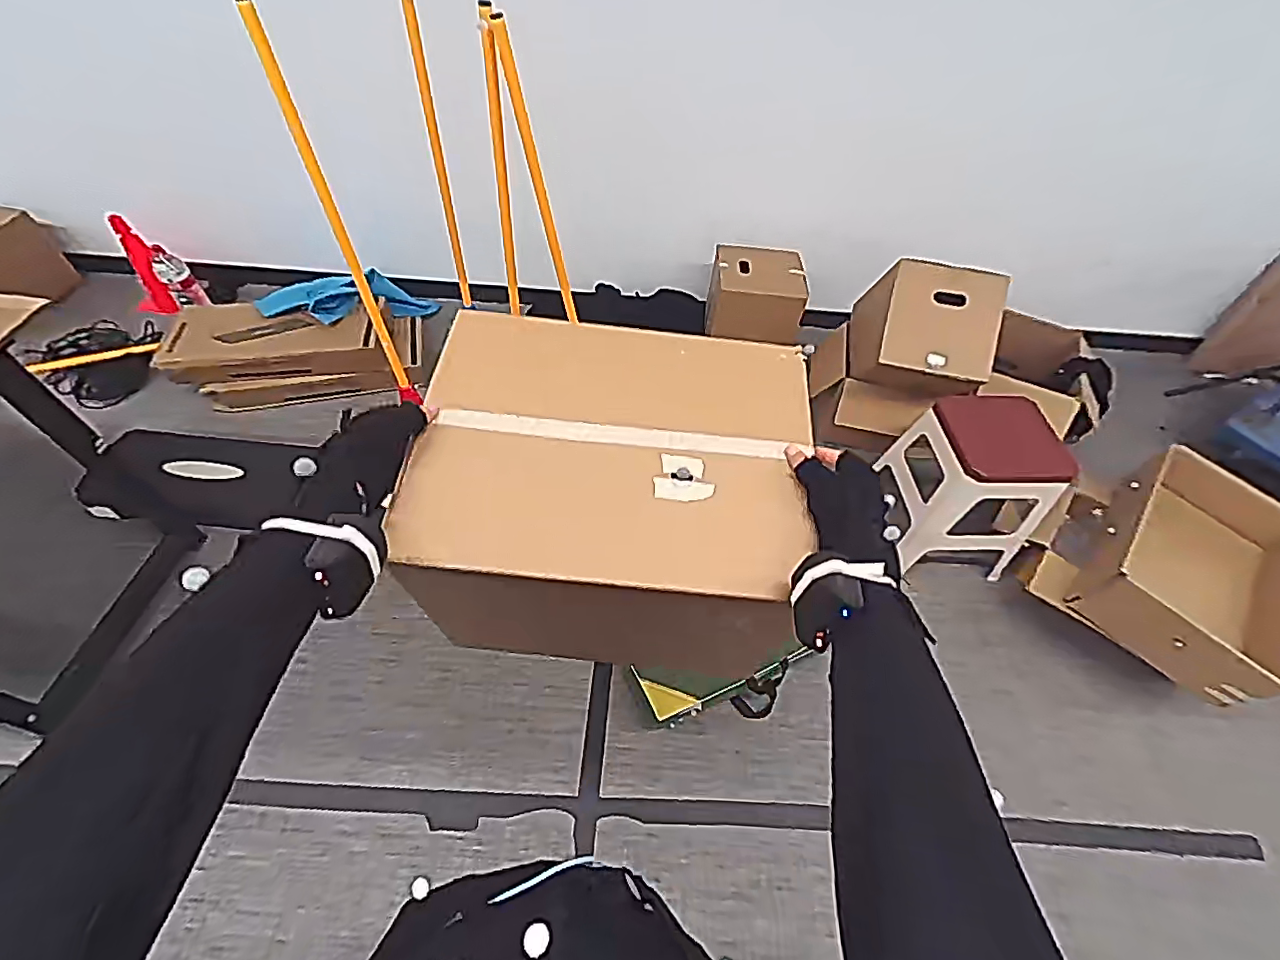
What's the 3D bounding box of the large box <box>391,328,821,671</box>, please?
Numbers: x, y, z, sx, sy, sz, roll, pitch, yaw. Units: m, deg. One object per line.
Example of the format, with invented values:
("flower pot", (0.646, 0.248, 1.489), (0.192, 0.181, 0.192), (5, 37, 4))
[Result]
("large box", (-0.034, 0.043, 0.694), (0.408, 0.320, 0.320), (6, 59, -2))
